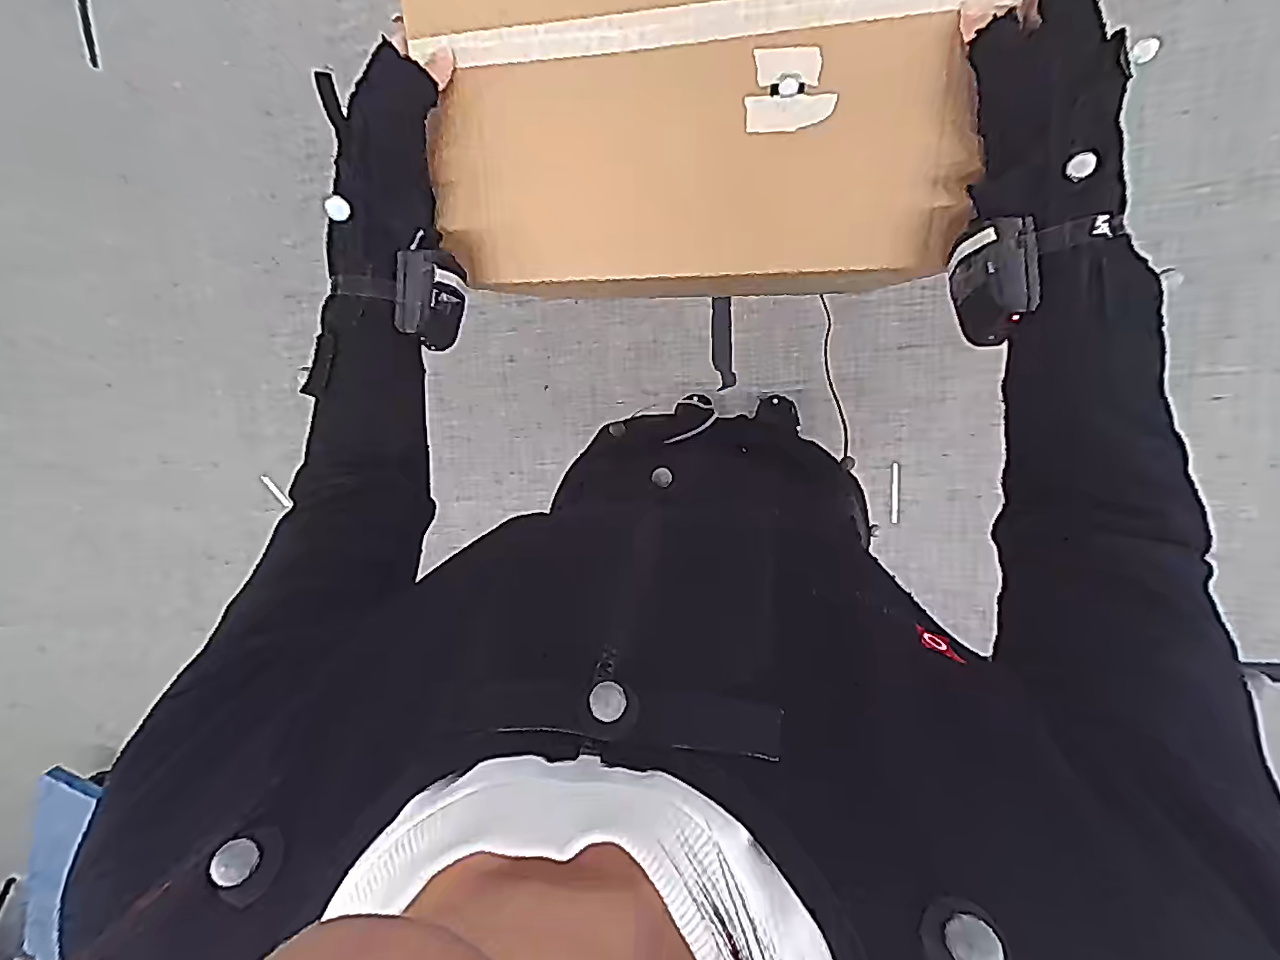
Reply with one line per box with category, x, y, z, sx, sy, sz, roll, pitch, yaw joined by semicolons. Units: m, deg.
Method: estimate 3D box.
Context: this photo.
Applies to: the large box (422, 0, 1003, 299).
large box;0.058;-0.352;0.516;0.408;0.320;0.320;1;107;9
